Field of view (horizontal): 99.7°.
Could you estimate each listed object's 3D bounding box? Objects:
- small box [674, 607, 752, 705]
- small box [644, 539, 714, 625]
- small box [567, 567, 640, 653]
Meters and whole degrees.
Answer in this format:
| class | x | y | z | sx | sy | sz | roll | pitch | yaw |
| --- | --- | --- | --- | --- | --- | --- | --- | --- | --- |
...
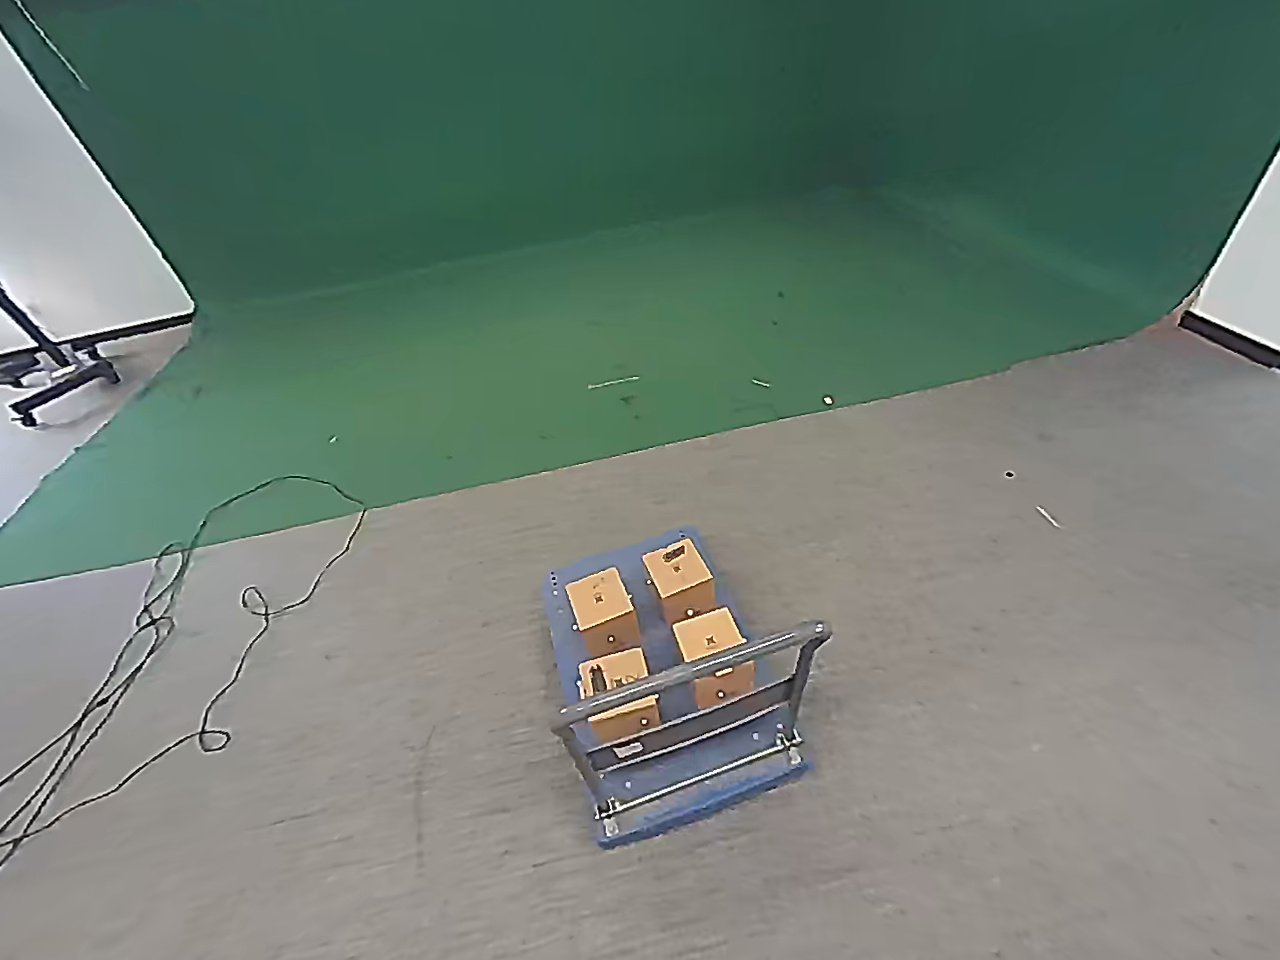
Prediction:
| class | x | y | z | sx | sy | sz | roll | pitch | yaw |
| --- | --- | --- | --- | --- | --- | --- | --- | --- | --- |
| small box | 0.203 | 0.493 | 1.514 | 0.168 | 0.176 | 0.179 | -17 | 43 | -7 |
| small box | 0.124 | 0.323 | 1.709 | 0.168 | 0.176 | 0.179 | -20 | 44 | -9 |
| small box | -0.109 | 0.408 | 1.666 | 0.168 | 0.176 | 0.179 | -19 | 43 | -10 |
